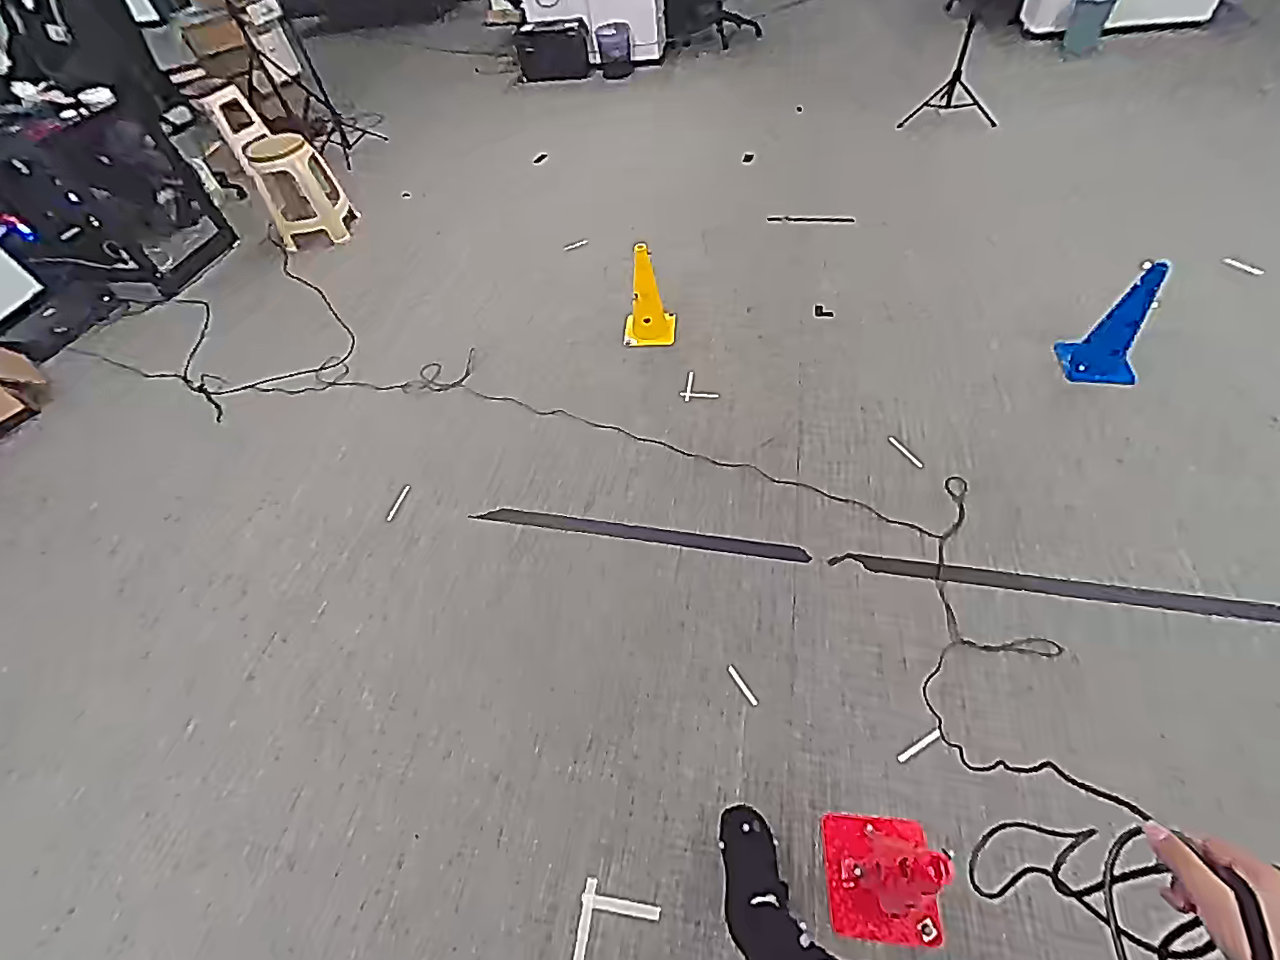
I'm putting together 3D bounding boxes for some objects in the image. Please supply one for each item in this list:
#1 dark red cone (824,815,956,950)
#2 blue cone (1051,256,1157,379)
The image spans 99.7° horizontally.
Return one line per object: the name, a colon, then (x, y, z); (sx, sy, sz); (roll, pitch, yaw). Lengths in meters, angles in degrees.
dark red cone: (0.441, 0.646, 0.891); (0.202, 0.394, 0.201); (-1, 50, 7)
blue cone: (1.495, -0.512, 1.697); (0.193, 0.380, 0.192); (6, 52, 12)
